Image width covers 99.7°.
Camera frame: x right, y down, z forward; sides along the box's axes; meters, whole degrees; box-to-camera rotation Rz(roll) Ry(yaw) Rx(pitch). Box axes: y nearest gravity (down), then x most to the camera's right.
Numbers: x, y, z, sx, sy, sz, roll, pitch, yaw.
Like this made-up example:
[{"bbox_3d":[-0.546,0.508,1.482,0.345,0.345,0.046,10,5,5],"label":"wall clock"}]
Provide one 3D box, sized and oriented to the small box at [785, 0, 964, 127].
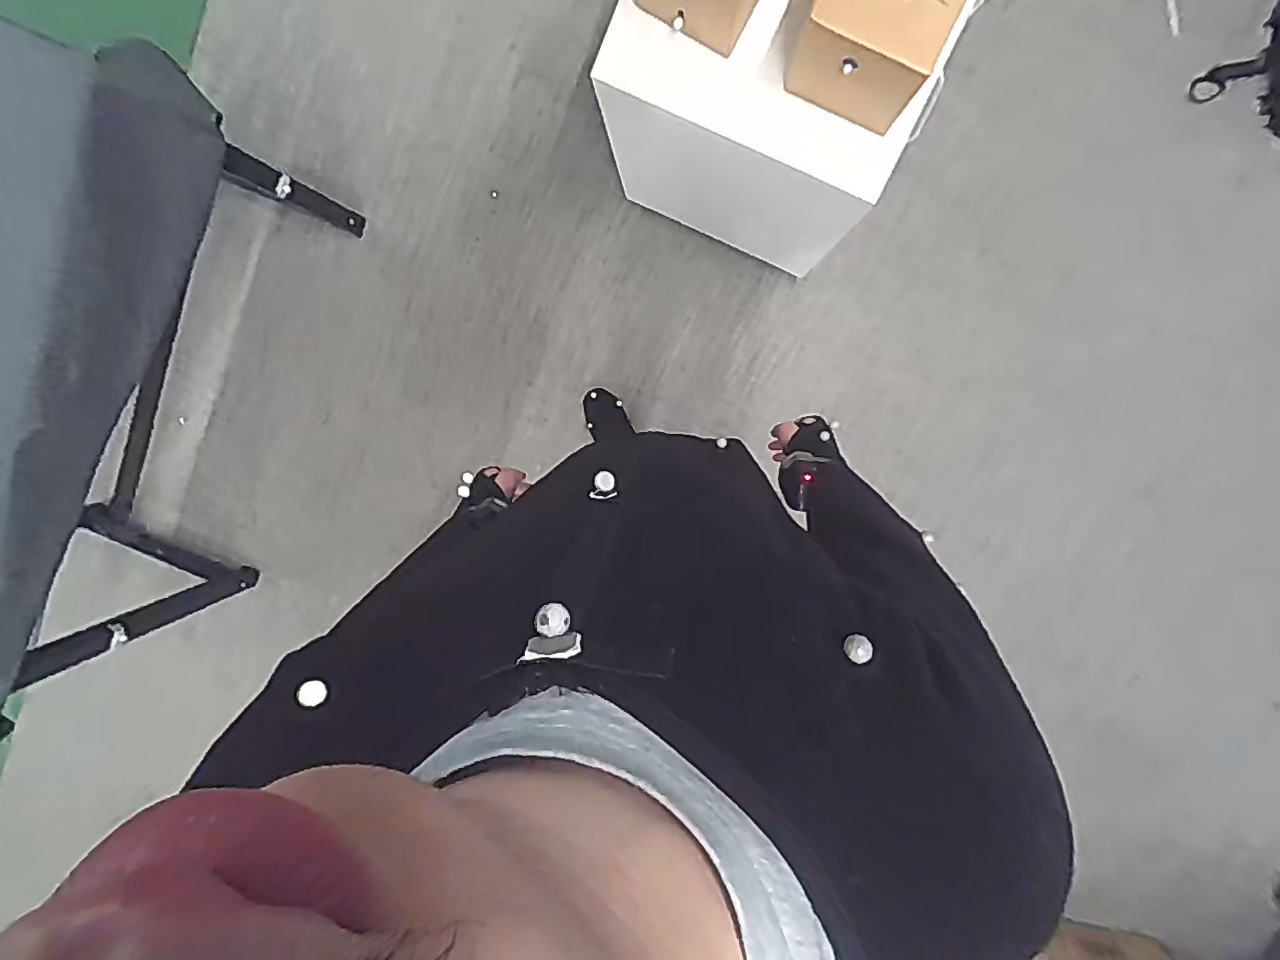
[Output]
[{"bbox_3d":[0.325,-0.637,0.754,0.179,0.176,0.168,24,99,-2],"label":"small box"}]
